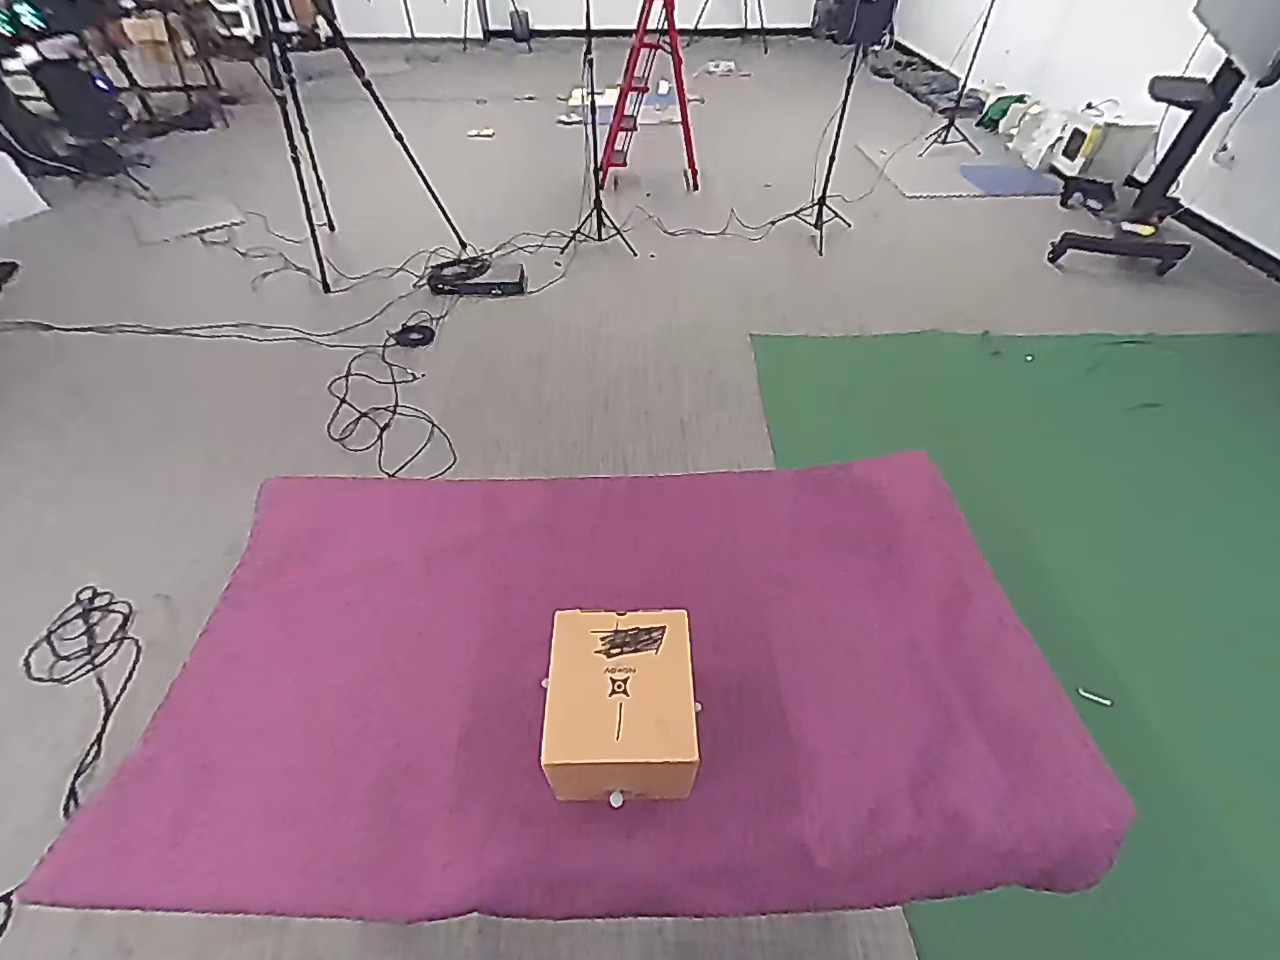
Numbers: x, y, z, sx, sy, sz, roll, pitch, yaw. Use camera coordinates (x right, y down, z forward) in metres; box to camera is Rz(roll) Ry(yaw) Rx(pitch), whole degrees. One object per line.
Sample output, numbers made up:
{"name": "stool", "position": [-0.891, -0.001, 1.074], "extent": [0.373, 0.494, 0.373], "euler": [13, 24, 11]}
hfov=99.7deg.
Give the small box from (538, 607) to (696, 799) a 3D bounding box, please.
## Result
{"name": "small box", "position": [-0.024, 0.274, 0.664], "extent": [0.168, 0.176, 0.179], "euler": [-1, 49, 0]}
